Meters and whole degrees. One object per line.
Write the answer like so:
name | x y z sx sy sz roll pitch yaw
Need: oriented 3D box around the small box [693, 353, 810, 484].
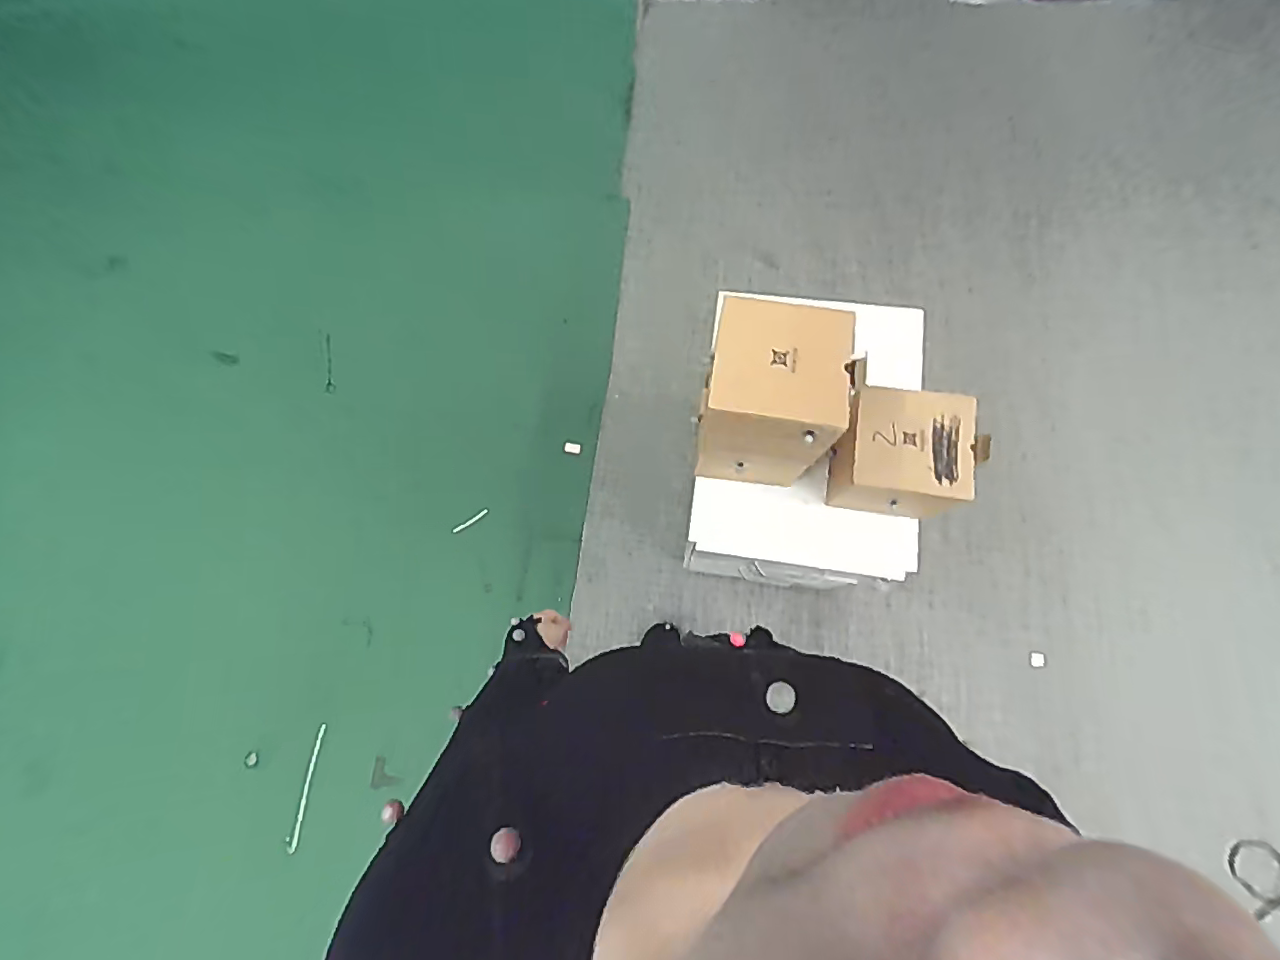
small box | 0.186 -0.097 0.920 0.179 0.176 0.168 7 76 4

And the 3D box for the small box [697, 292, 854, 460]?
small box | 0.180 -0.137 0.761 0.179 0.176 0.168 9 75 3
